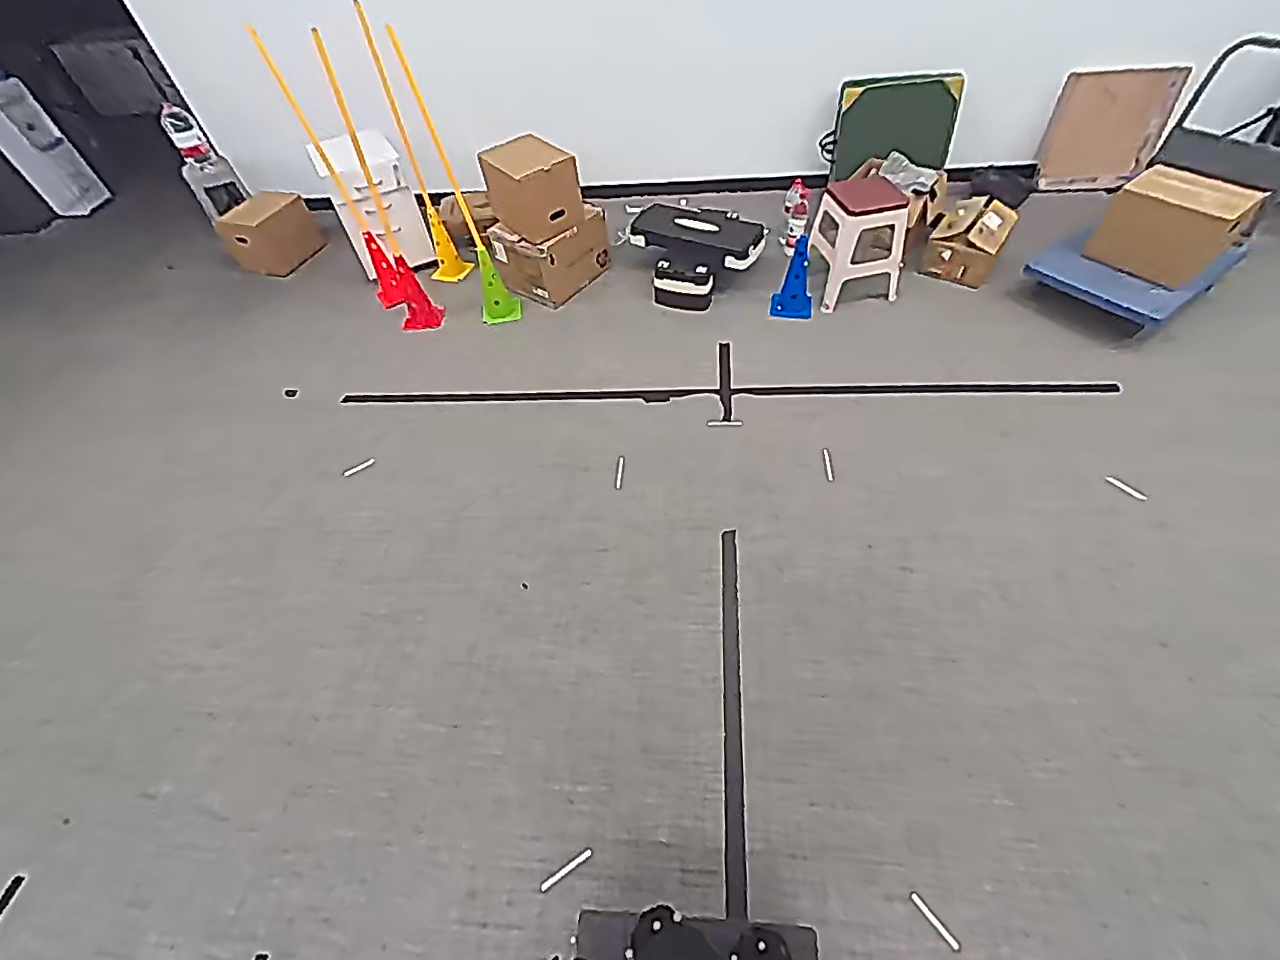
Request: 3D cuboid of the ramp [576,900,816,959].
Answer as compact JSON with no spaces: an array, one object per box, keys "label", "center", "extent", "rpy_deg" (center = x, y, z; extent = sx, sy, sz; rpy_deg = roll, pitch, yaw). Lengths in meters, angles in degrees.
[{"label":"ramp","center":[0.093,1.336,0.902],"extent":[0.509,0.206,0.991],"rpy_deg":[0,52,3]}]
